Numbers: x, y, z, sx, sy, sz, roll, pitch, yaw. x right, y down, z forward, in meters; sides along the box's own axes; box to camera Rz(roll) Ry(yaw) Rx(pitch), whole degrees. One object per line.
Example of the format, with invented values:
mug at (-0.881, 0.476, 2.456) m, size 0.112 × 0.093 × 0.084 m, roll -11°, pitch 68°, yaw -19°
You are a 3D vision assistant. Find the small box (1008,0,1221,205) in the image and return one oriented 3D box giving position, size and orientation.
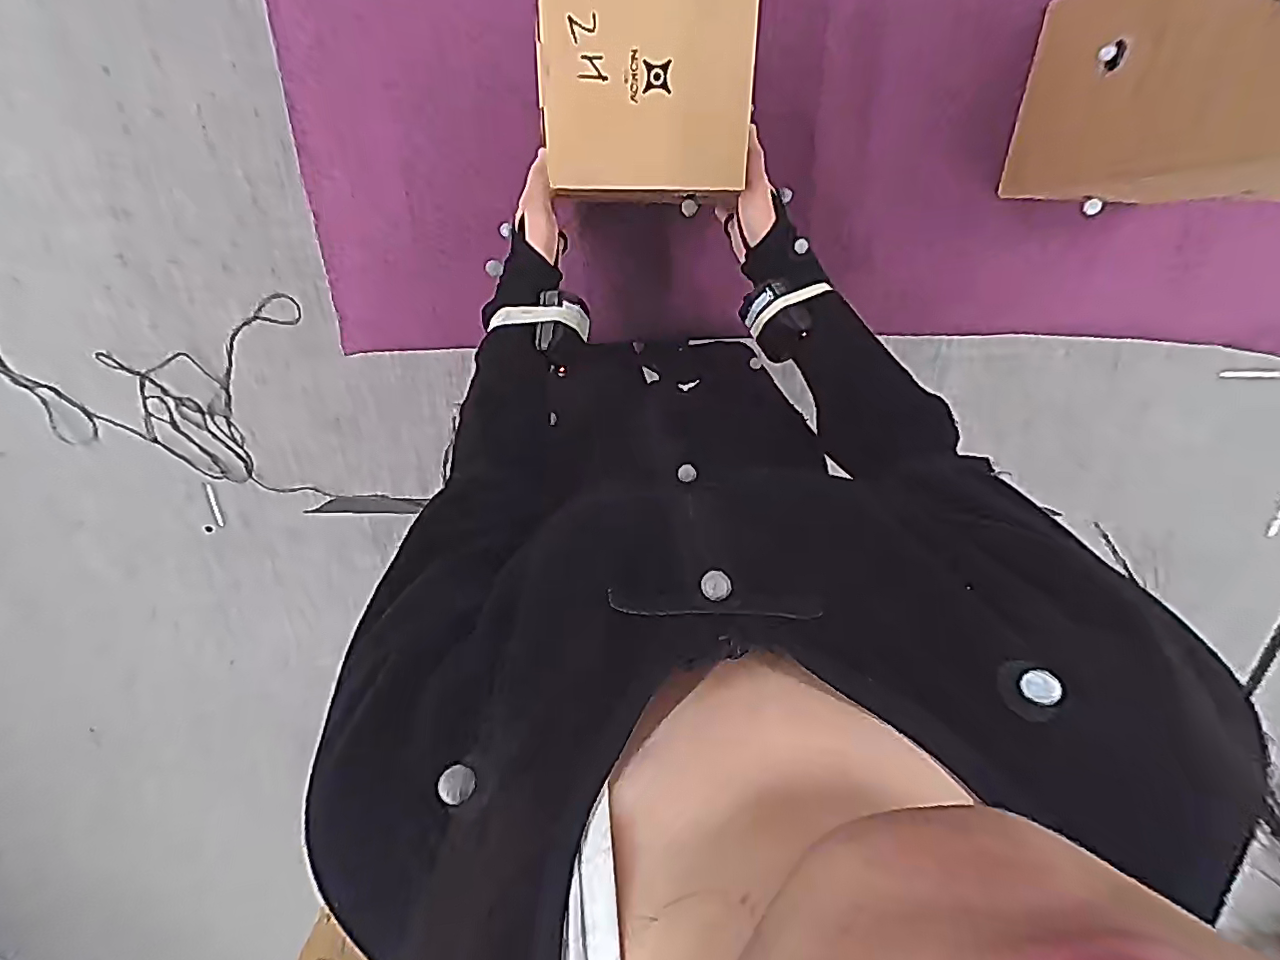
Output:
small box at (0.486, -0.362, 0.500) m, size 0.168 × 0.176 × 0.179 m, roll 3°, pitch 114°, yaw 0°

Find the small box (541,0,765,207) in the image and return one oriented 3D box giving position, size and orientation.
small box at (0.009, -0.357, 0.511) m, size 0.179 × 0.176 × 0.168 m, roll 1°, pitch 113°, yaw 1°

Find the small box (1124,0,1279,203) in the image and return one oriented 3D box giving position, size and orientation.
small box at (0.483, -0.292, 0.352) m, size 0.168 × 0.176 × 0.179 m, roll 5°, pitch 113°, yaw 0°
